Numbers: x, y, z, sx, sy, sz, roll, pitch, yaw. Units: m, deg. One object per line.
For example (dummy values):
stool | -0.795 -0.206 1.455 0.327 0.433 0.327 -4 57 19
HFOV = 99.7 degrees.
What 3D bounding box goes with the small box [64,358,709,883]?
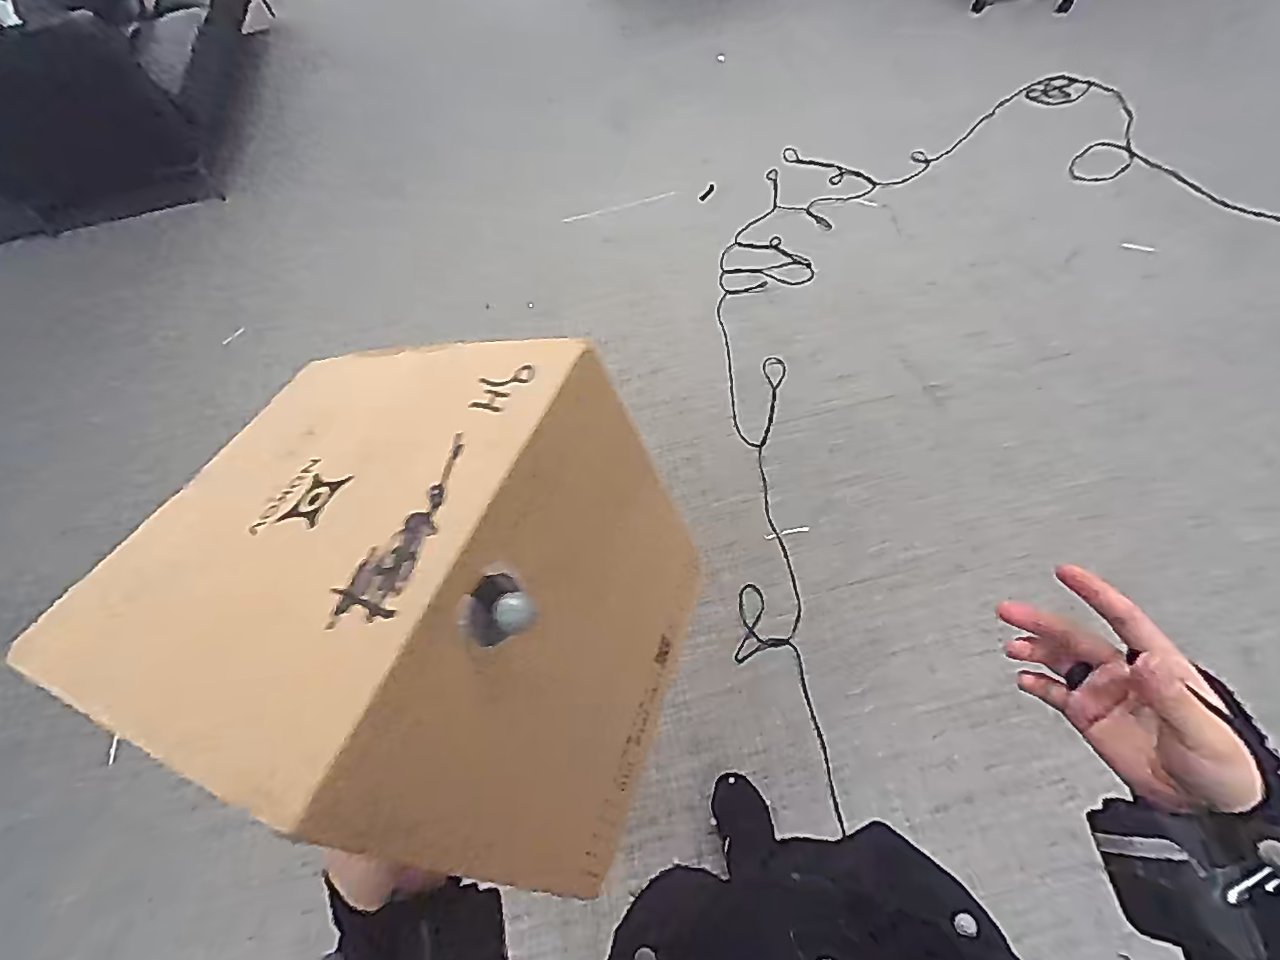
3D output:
small box | -0.087 0.065 0.260 0.179 0.176 0.168 2 53 29
